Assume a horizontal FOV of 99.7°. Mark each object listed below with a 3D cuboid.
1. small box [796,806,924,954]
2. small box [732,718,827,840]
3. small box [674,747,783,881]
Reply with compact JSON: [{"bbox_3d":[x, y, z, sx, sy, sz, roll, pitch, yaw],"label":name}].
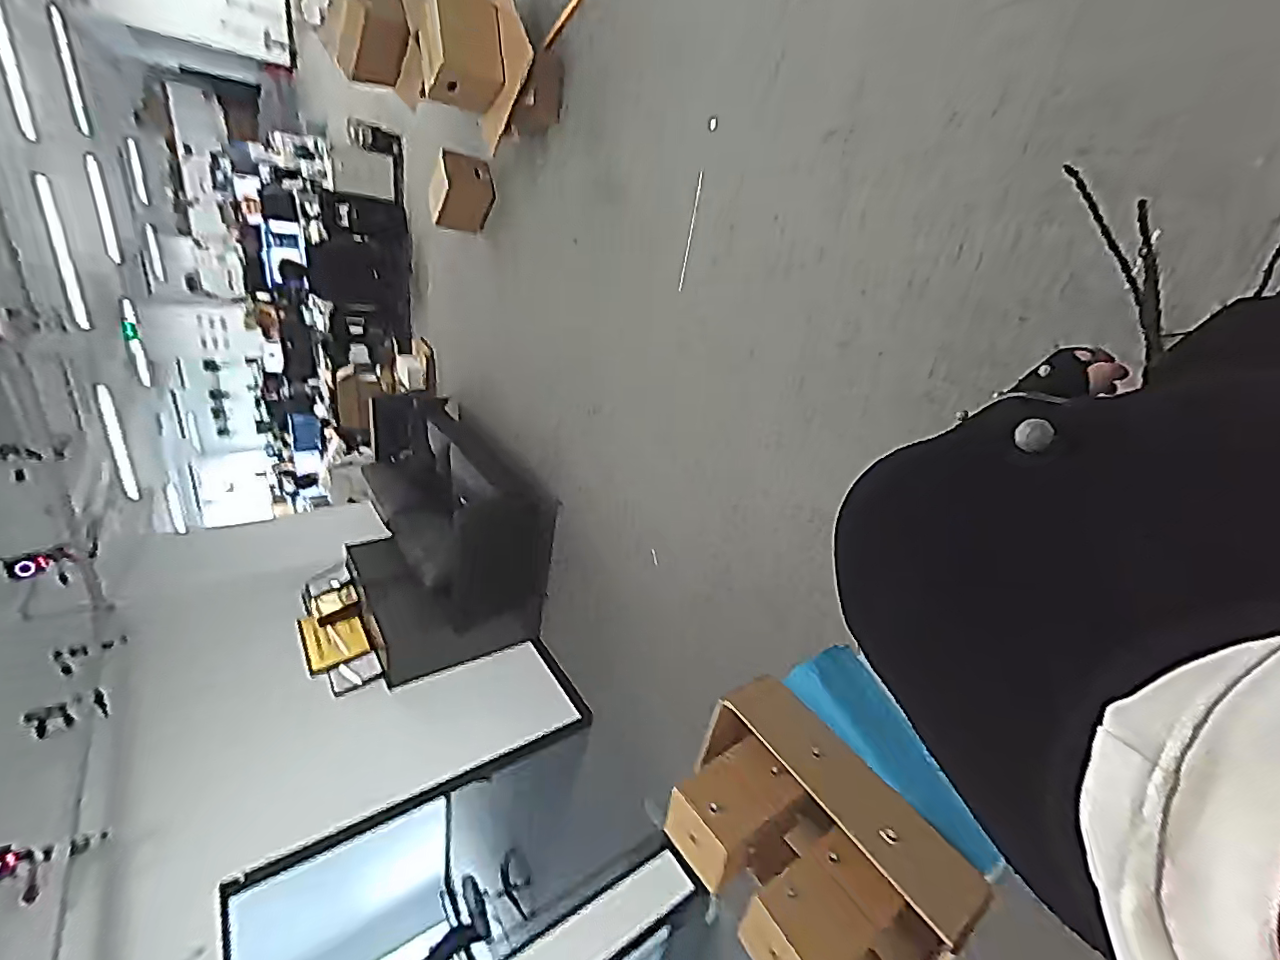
[{"bbox_3d":[0.483,0.870,1.191,0.179,0.176,0.168,42,132,45],"label":"small box"},{"bbox_3d":[0.338,0.741,1.361,0.179,0.176,0.168,35,127,43],"label":"small box"},{"bbox_3d":[0.206,0.771,1.269,0.179,0.176,0.168,36,128,45],"label":"small box"}]
